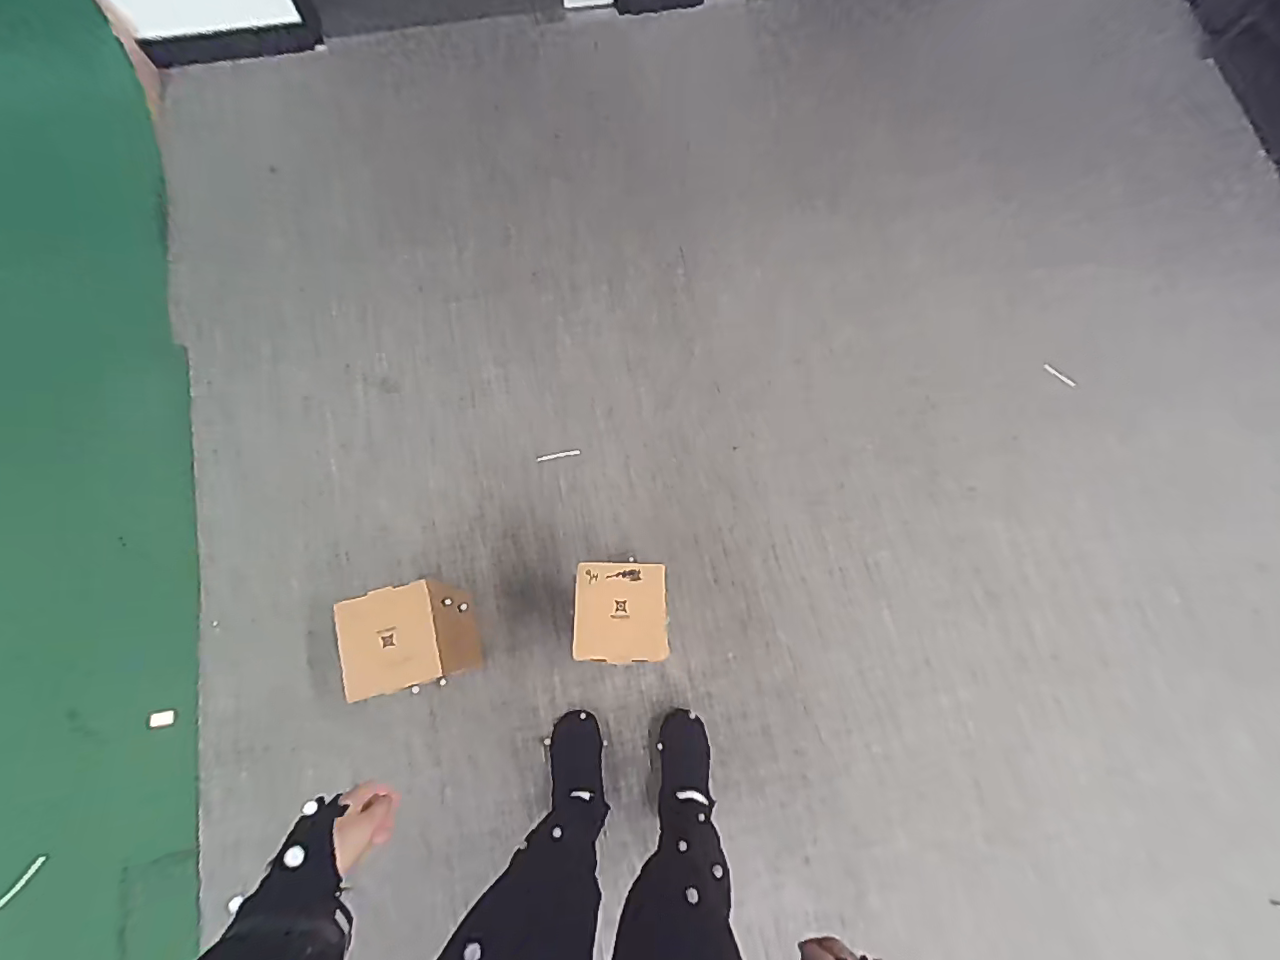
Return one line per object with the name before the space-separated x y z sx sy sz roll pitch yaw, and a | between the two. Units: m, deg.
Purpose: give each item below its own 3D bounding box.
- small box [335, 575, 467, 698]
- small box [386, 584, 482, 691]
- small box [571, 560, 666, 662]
small box | -0.441 0.290 1.016 0.168 0.176 0.179 -15 77 -6
small box | -0.455 0.338 1.170 0.168 0.176 0.179 -15 77 -7
small box | -0.040 0.253 1.049 0.168 0.176 0.179 3 76 -3
